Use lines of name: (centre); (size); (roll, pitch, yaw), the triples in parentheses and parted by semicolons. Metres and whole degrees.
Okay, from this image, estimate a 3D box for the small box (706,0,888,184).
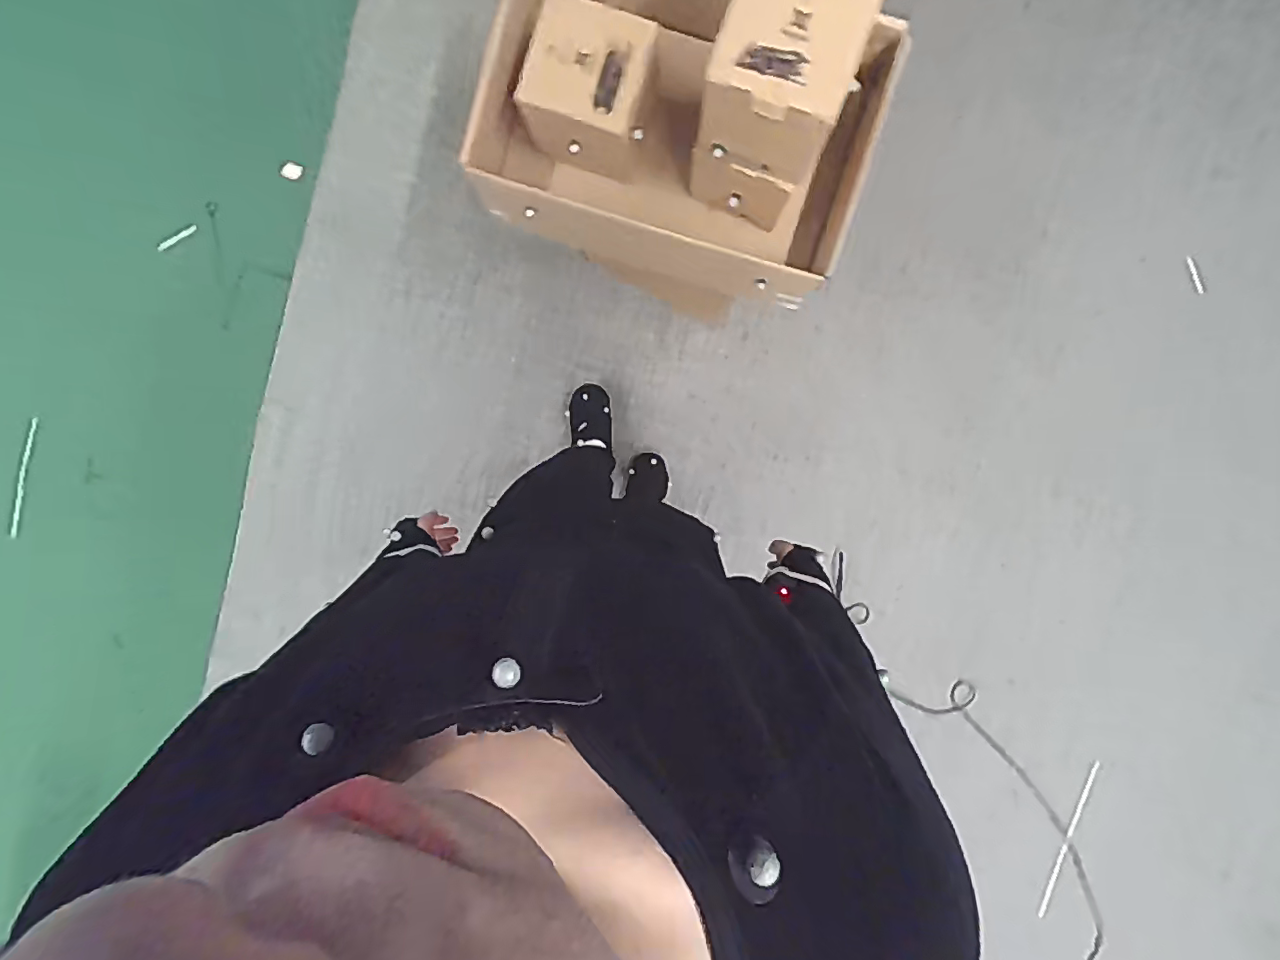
small box: (0.194, -0.534, 0.719); (0.168, 0.176, 0.179); (21, 94, 0)
